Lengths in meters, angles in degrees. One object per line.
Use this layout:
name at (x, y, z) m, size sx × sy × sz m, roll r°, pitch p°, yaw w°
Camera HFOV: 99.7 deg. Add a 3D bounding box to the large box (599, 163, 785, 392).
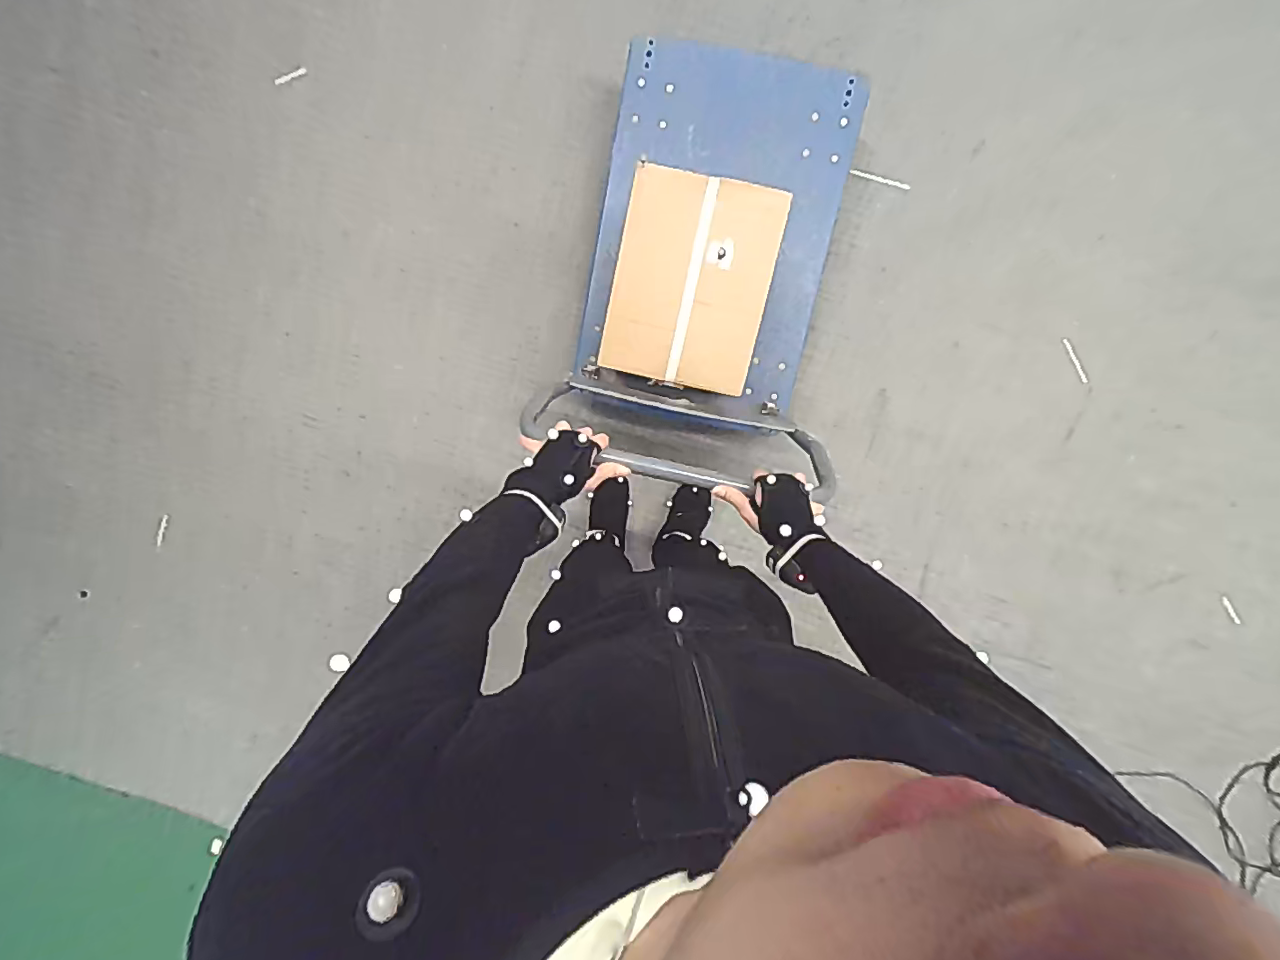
large box at (0.109, -0.428, 1.238) m, size 0.320 × 0.320 × 0.408 m, roll 12°, pitch 101°, yaw 1°
